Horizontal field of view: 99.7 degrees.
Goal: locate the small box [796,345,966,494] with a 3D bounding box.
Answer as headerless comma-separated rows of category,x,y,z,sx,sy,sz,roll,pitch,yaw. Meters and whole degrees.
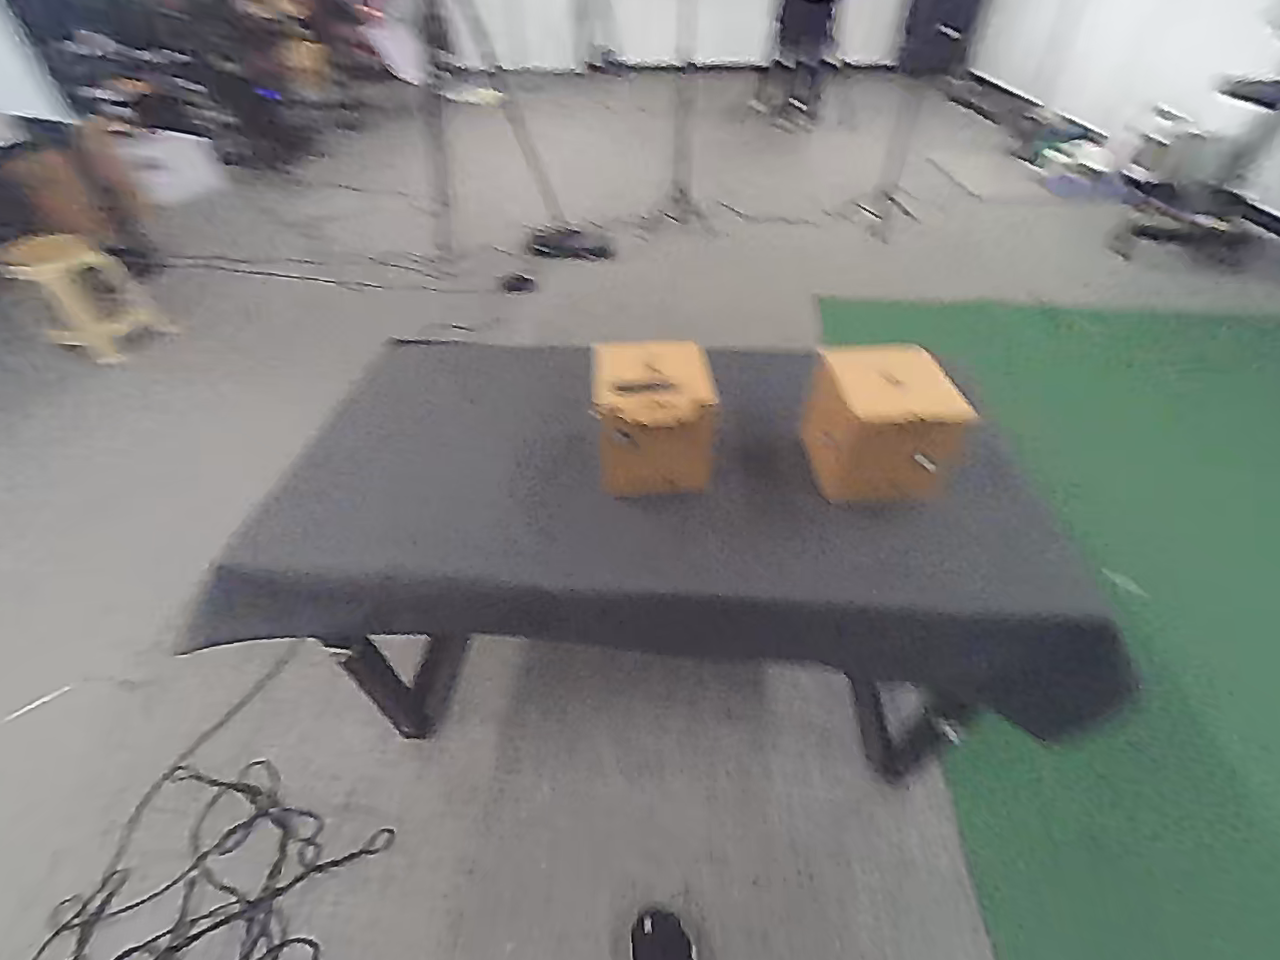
small box,0.357,-0.091,0.839,0.168,0.176,0.179,-2,43,-3
